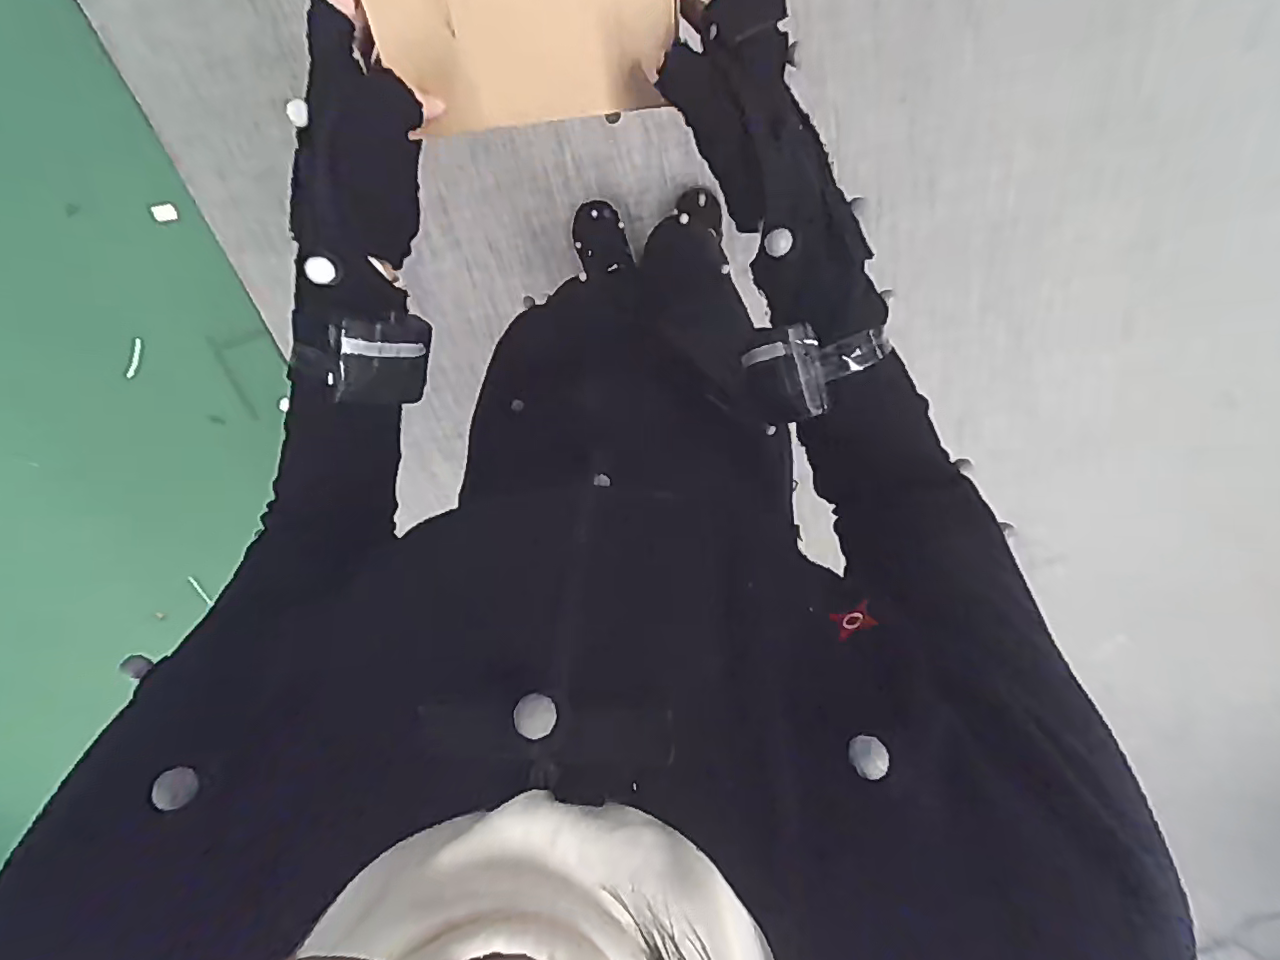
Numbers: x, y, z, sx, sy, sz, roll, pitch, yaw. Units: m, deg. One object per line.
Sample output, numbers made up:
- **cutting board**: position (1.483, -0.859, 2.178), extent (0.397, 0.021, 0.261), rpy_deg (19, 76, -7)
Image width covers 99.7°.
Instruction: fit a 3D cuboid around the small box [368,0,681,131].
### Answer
- **small box**: position (-0.073, -0.345, 0.348), extent (0.179, 0.176, 0.168), rpy_deg (-6, 132, 3)
